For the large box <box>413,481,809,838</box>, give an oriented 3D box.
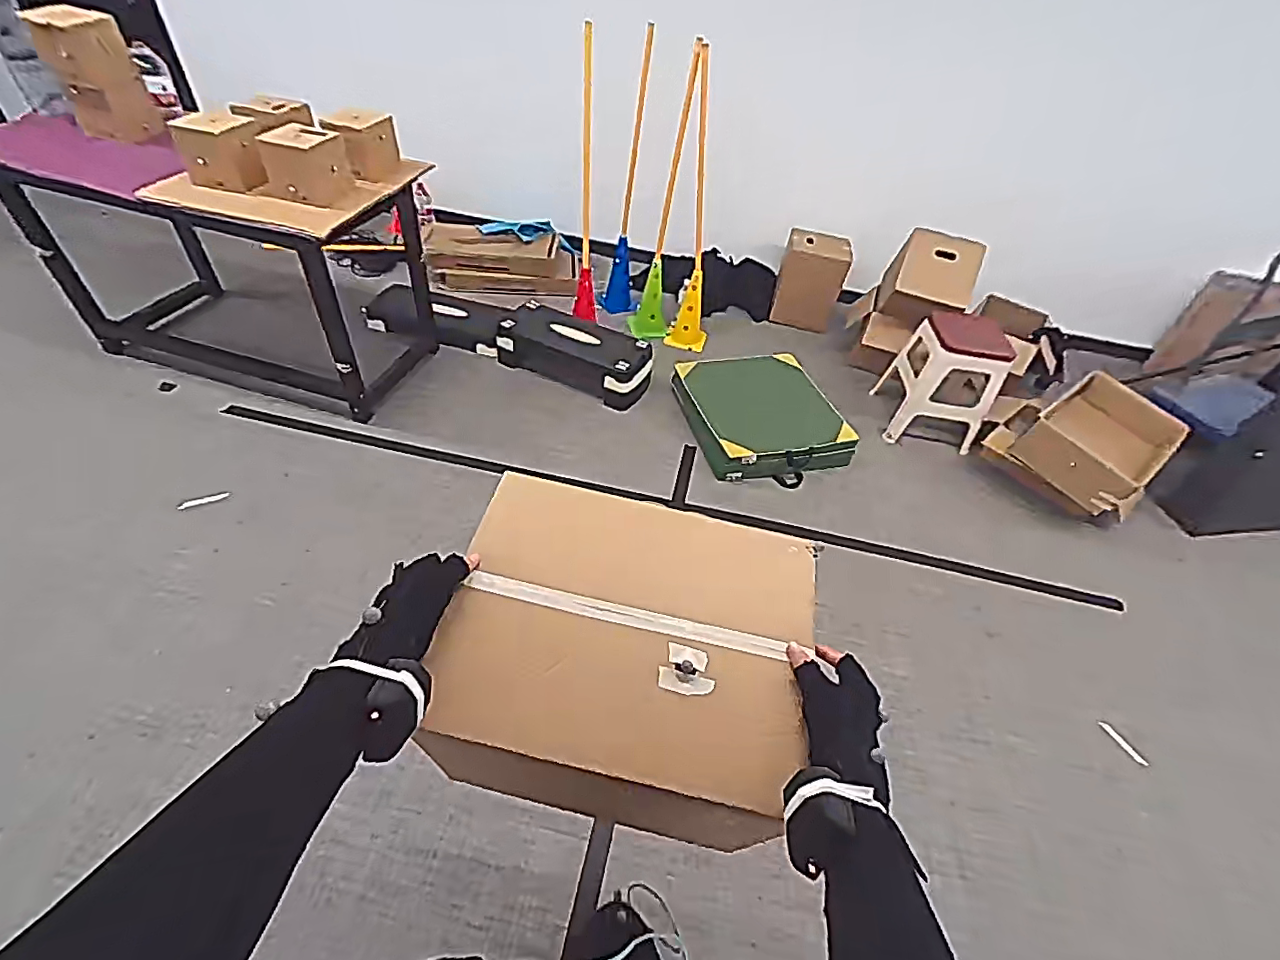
[{"bbox_3d":[-0.023,0.248,0.730,0.408,0.320,0.320,13,52,2],"label":"large box"}]
